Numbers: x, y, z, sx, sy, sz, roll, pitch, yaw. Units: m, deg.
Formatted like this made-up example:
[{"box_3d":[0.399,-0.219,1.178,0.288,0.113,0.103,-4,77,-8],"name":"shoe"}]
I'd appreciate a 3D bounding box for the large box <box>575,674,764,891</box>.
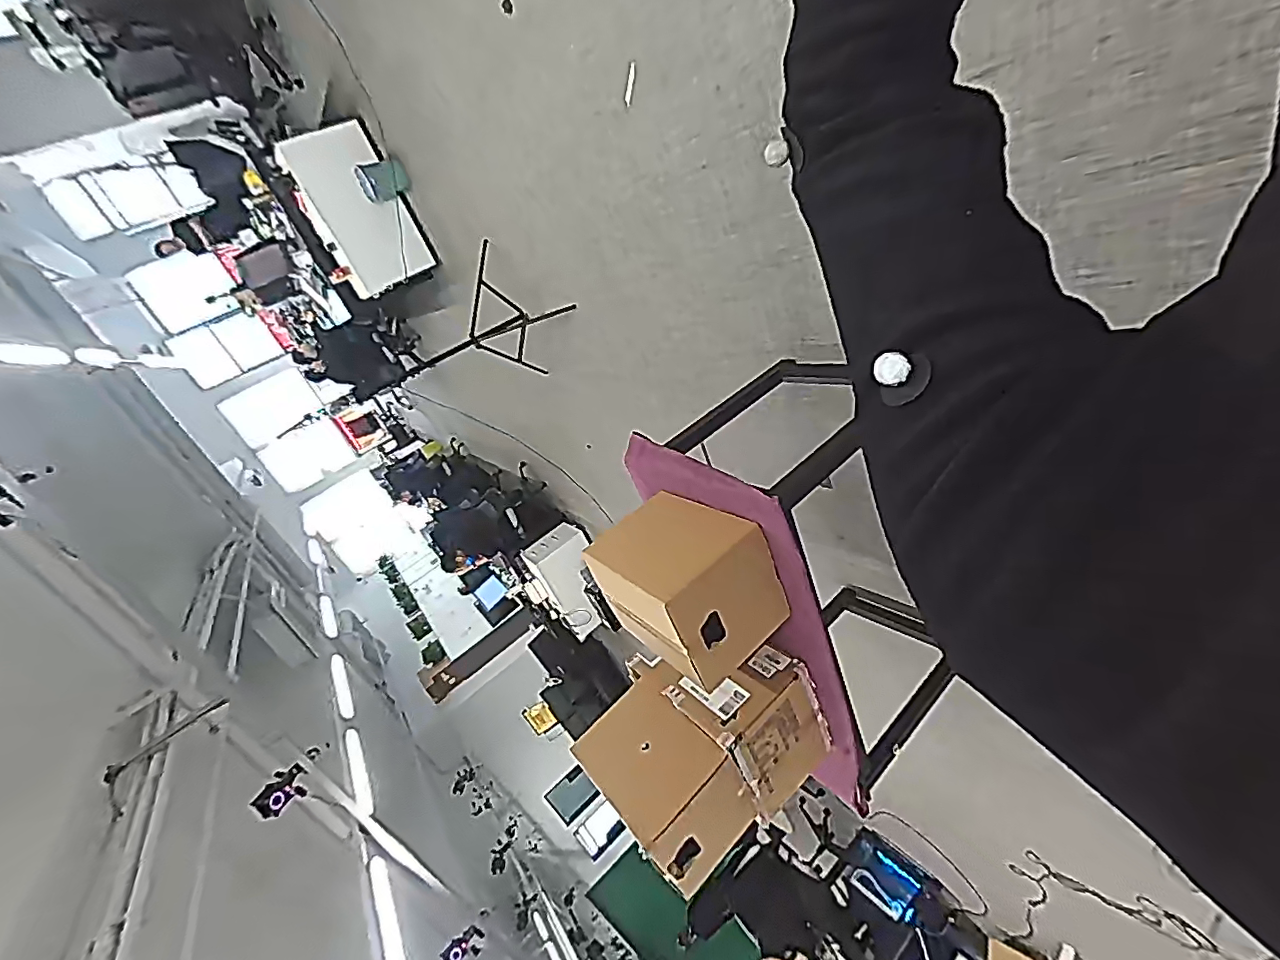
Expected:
[{"box_3d":[0.082,0.853,1.581,0.408,0.320,0.320,20,144,53],"name":"large box"}]
